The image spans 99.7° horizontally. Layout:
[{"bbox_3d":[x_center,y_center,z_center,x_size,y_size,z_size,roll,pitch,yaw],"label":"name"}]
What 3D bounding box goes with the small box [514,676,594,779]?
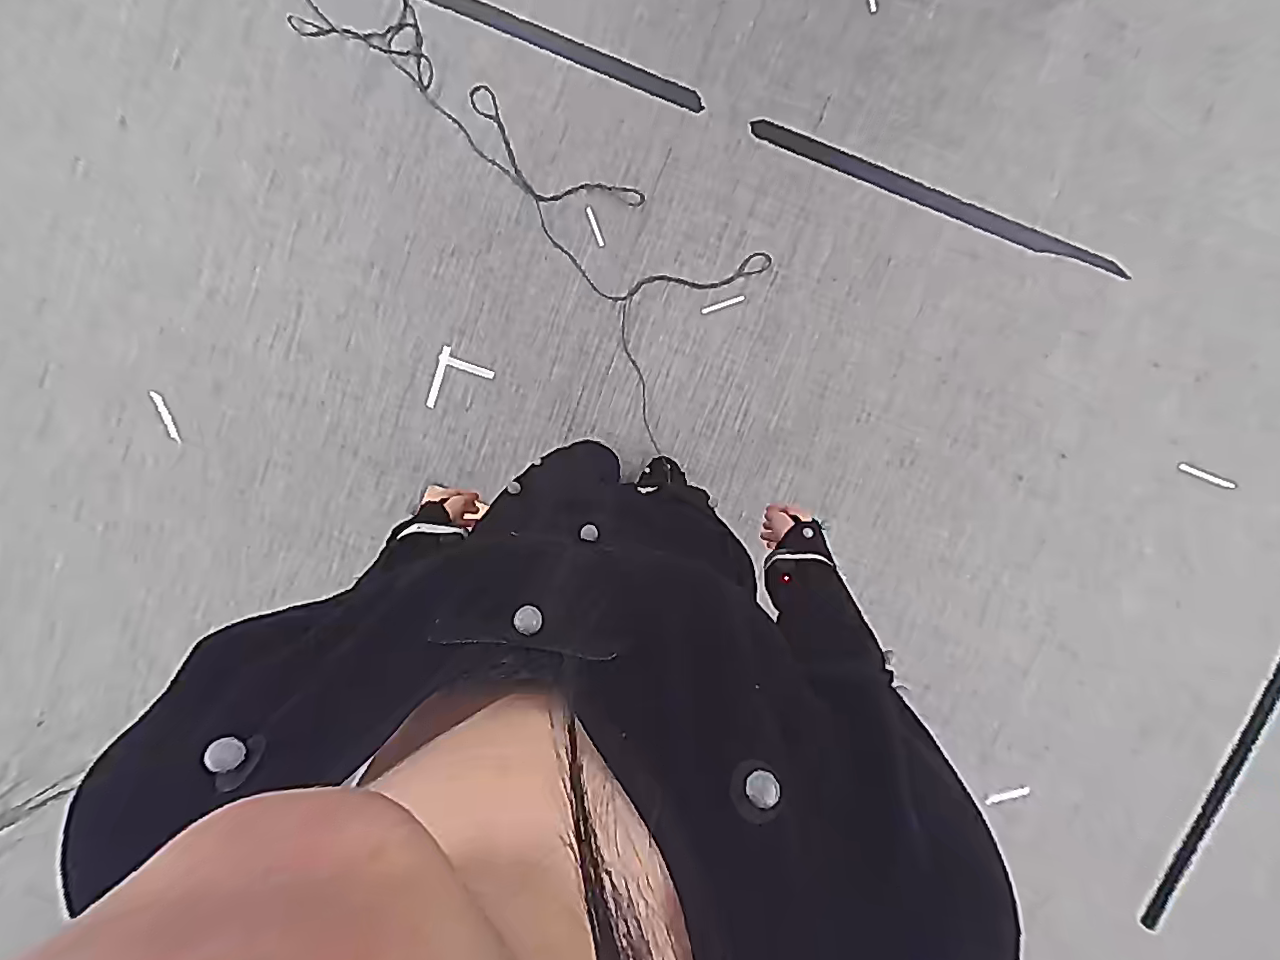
[{"bbox_3d":[-0.224,0.657,1.451,0.168,0.176,0.179,12,95,0],"label":"small box"}]
